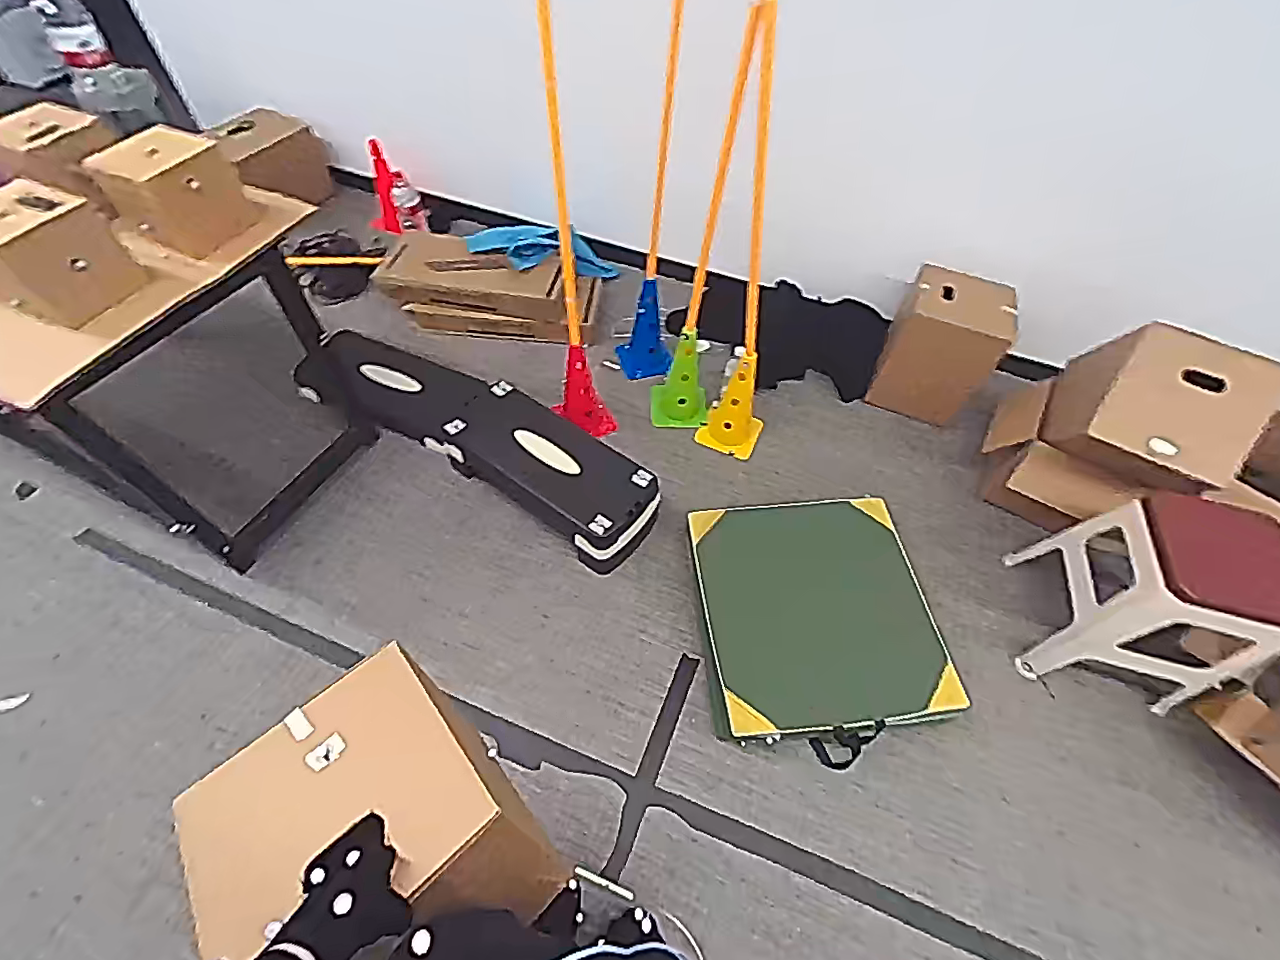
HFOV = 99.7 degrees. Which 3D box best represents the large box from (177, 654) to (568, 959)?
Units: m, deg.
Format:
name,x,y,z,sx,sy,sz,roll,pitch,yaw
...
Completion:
name,x,y,z,sx,sy,sz,roll,pitch,yaw
large box,-0.360,0.539,0.803,0.320,0.408,0.320,-36,51,-22
